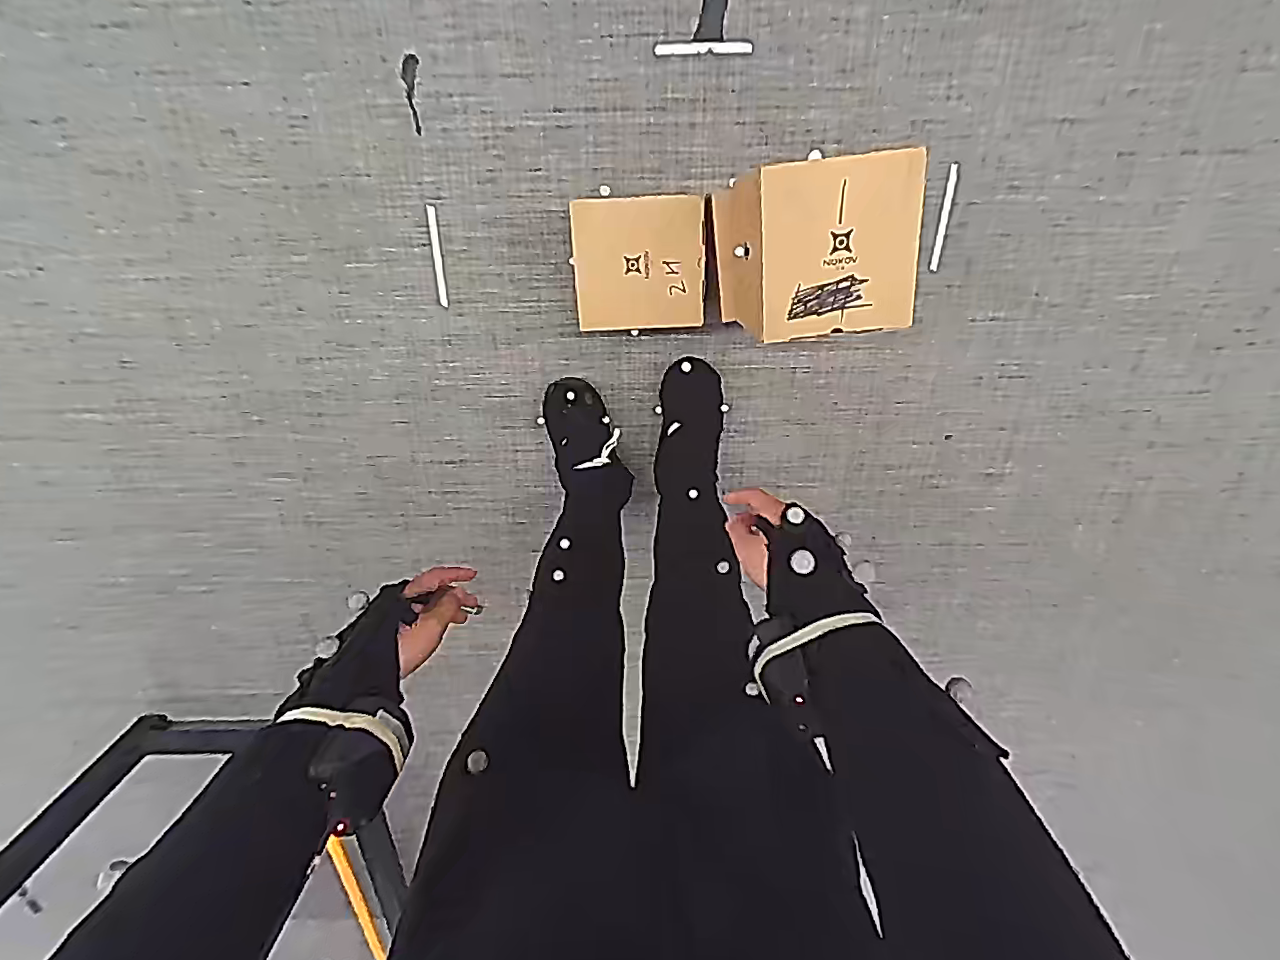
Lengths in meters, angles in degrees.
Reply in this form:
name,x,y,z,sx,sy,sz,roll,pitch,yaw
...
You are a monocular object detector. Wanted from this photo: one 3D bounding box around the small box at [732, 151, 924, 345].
name,x,y,z,sx,sy,sz,roll,pitch,yaw
small box,0.204,-0.269,0.637,0.168,0.176,0.179,-6,114,2
